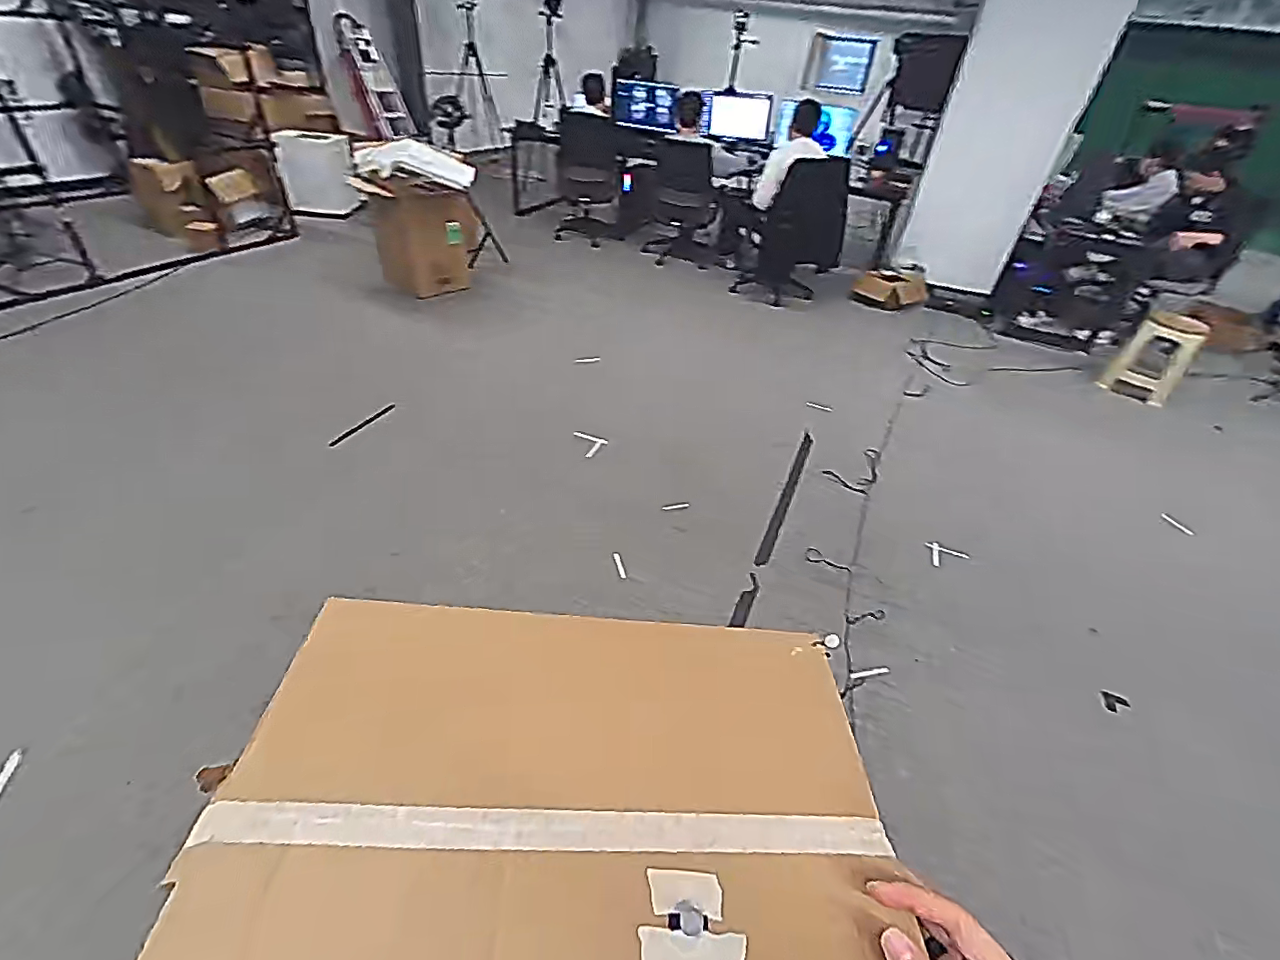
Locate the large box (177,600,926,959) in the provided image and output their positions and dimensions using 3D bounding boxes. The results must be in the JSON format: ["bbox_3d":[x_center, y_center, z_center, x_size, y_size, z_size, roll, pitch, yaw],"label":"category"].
[{"bbox_3d":[-0.058,0.328,0.428,0.408,0.320,0.320,8,40,-7],"label":"large box"}]
